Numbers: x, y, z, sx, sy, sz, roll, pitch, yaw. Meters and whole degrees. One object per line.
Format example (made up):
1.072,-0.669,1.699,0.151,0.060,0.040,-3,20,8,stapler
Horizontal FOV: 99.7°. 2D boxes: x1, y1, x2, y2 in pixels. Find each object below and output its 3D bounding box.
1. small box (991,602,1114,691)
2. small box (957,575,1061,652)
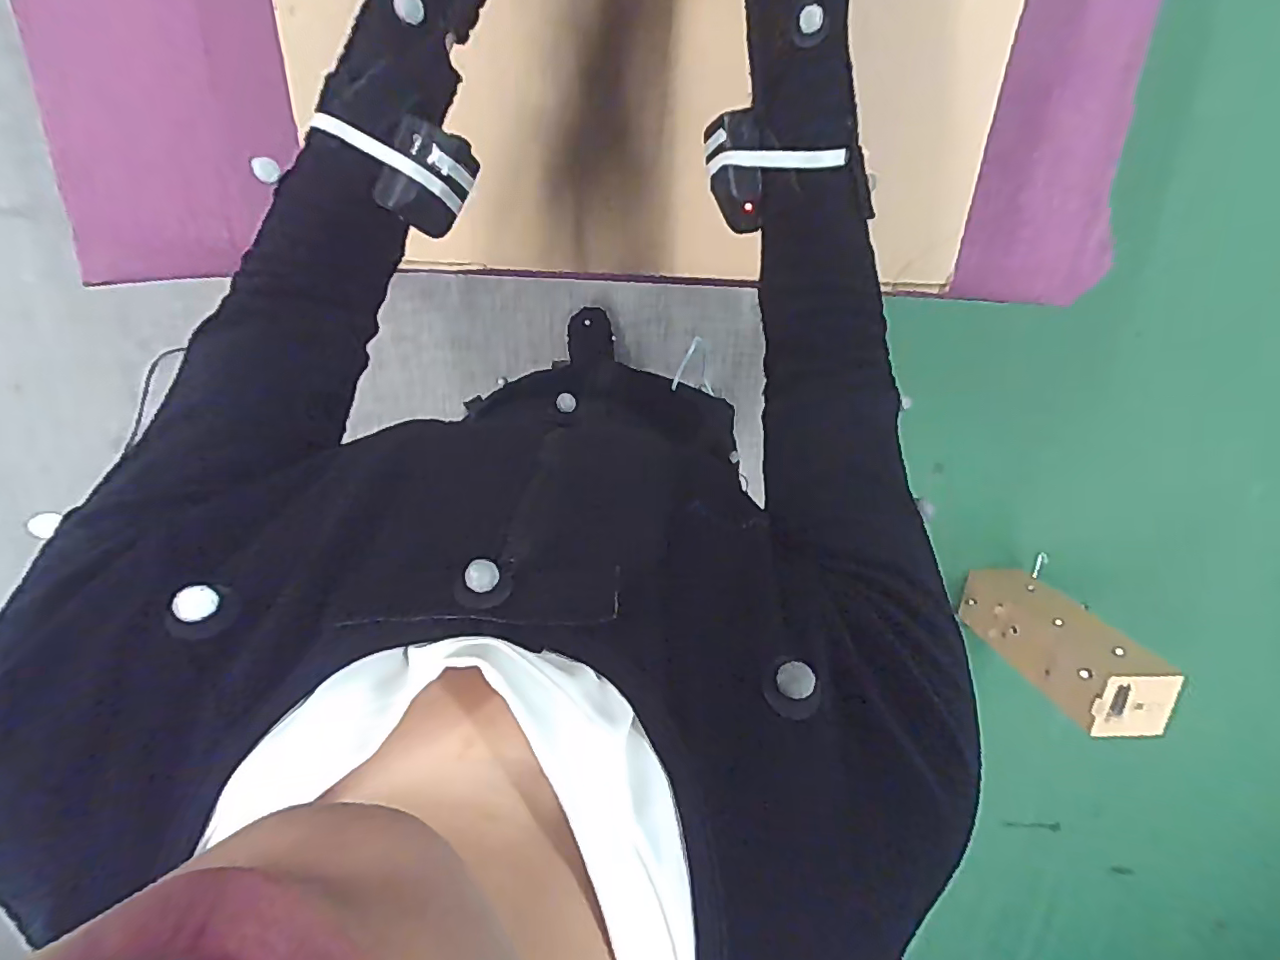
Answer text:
1.090,0.440,1.441,0.179,0.176,0.168,1,109,-2,small box
1.083,0.391,1.596,0.179,0.176,0.168,2,108,-3,small box
